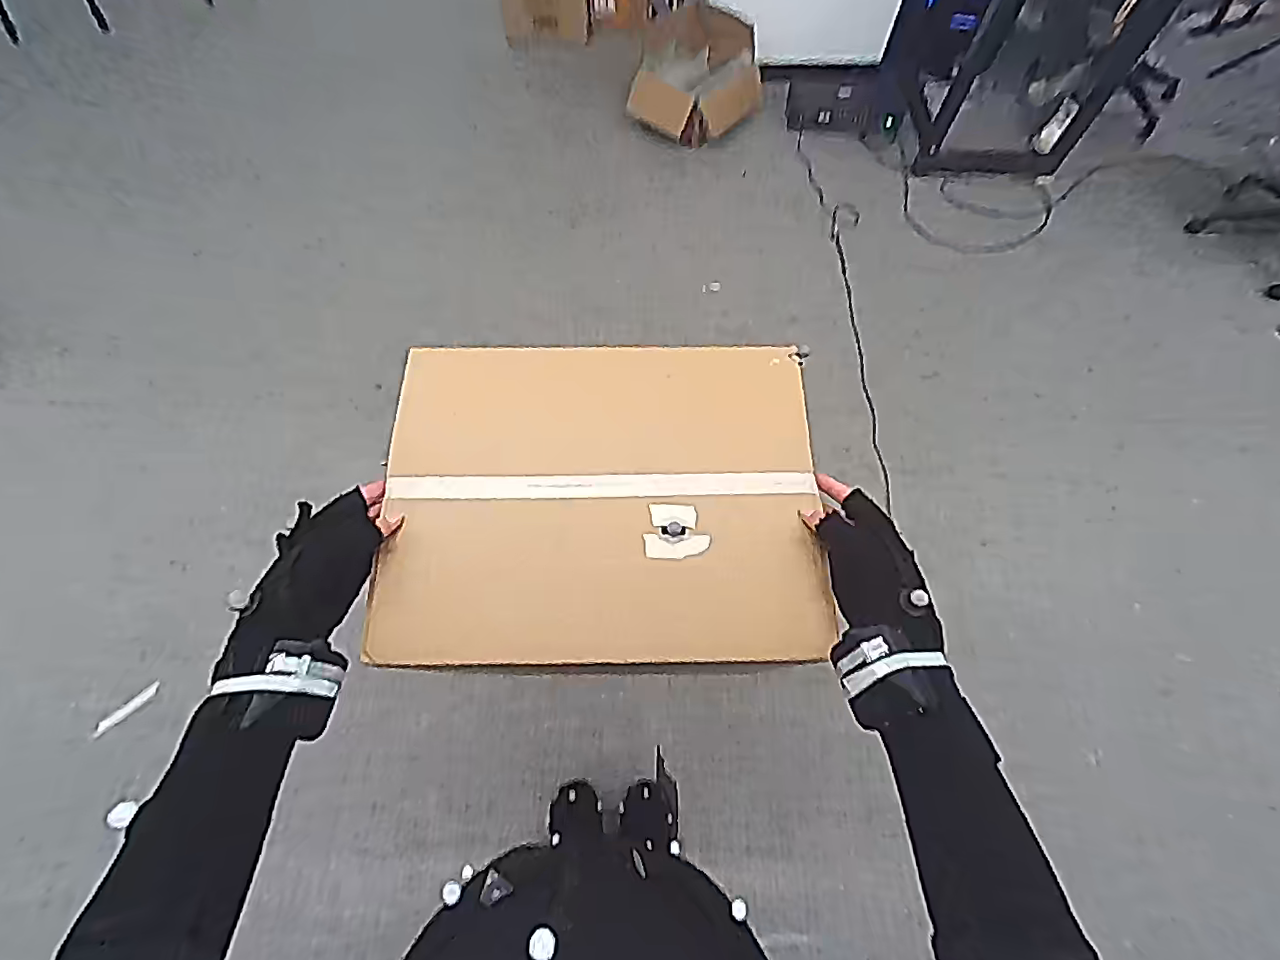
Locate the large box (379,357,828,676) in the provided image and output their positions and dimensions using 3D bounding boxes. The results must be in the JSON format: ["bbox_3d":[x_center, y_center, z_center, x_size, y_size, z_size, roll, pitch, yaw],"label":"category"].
[{"bbox_3d":[-0.038,0.066,0.664,0.408,0.320,0.320,0,69,-2],"label":"large box"}]
